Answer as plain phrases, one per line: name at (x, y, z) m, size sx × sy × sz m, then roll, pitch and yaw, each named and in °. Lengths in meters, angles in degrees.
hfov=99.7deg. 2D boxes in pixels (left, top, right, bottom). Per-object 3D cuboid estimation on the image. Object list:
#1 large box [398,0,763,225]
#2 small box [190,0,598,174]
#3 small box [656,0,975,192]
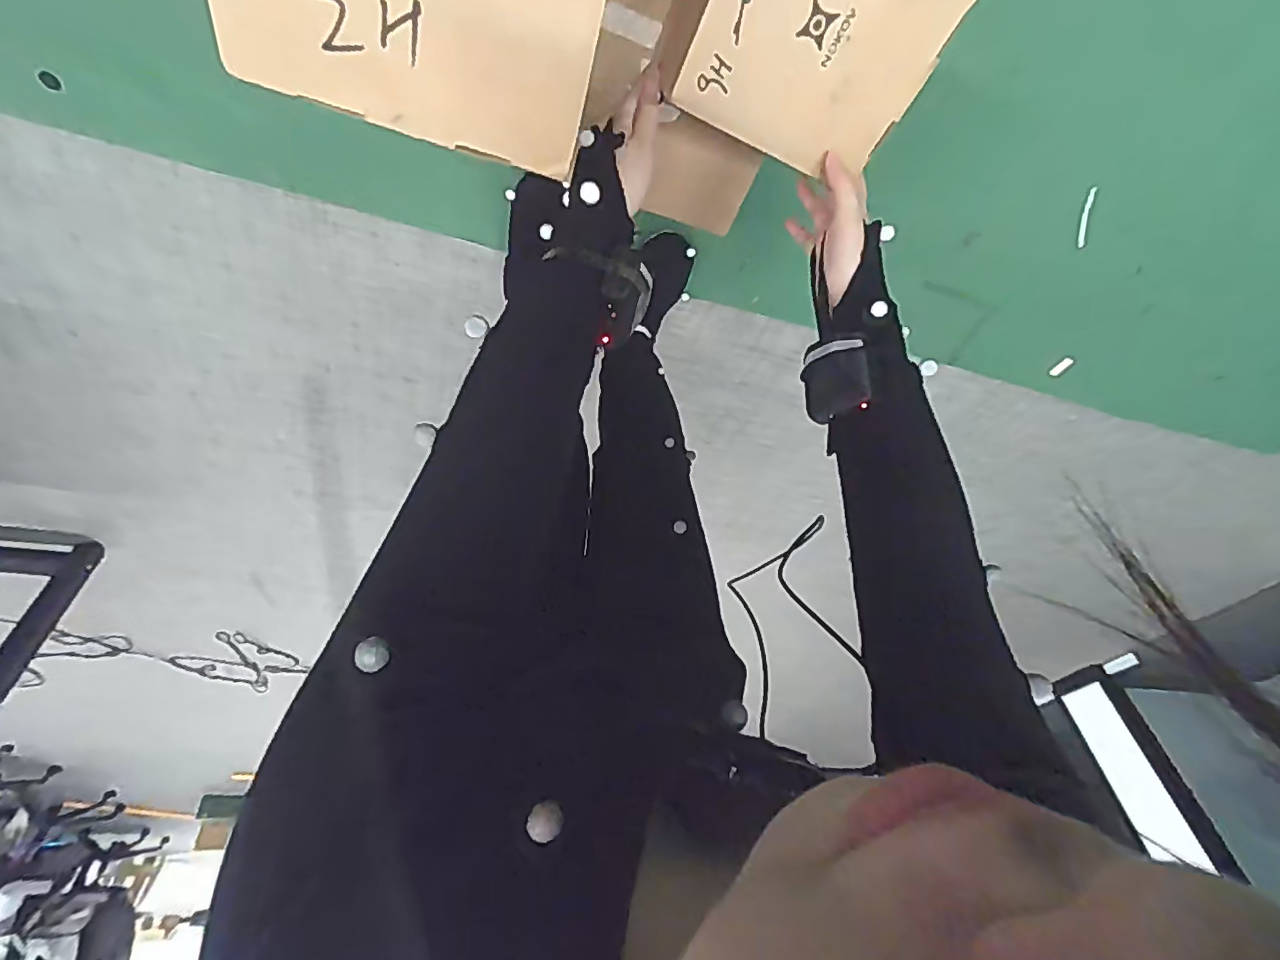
large box at (-0.042, -0.547, 0.595) m, size 0.408 × 0.320 × 0.320 m, roll 10°, pitch 137°, yaw -17°
small box at (-0.099, -0.292, 0.262) m, size 0.168 × 0.176 × 0.179 m, roll 10°, pitch 136°, yaw -16°
small box at (0.125, -0.375, 0.435) m, size 0.179 × 0.176 × 0.168 m, roll 15°, pitch 134°, yaw -19°
